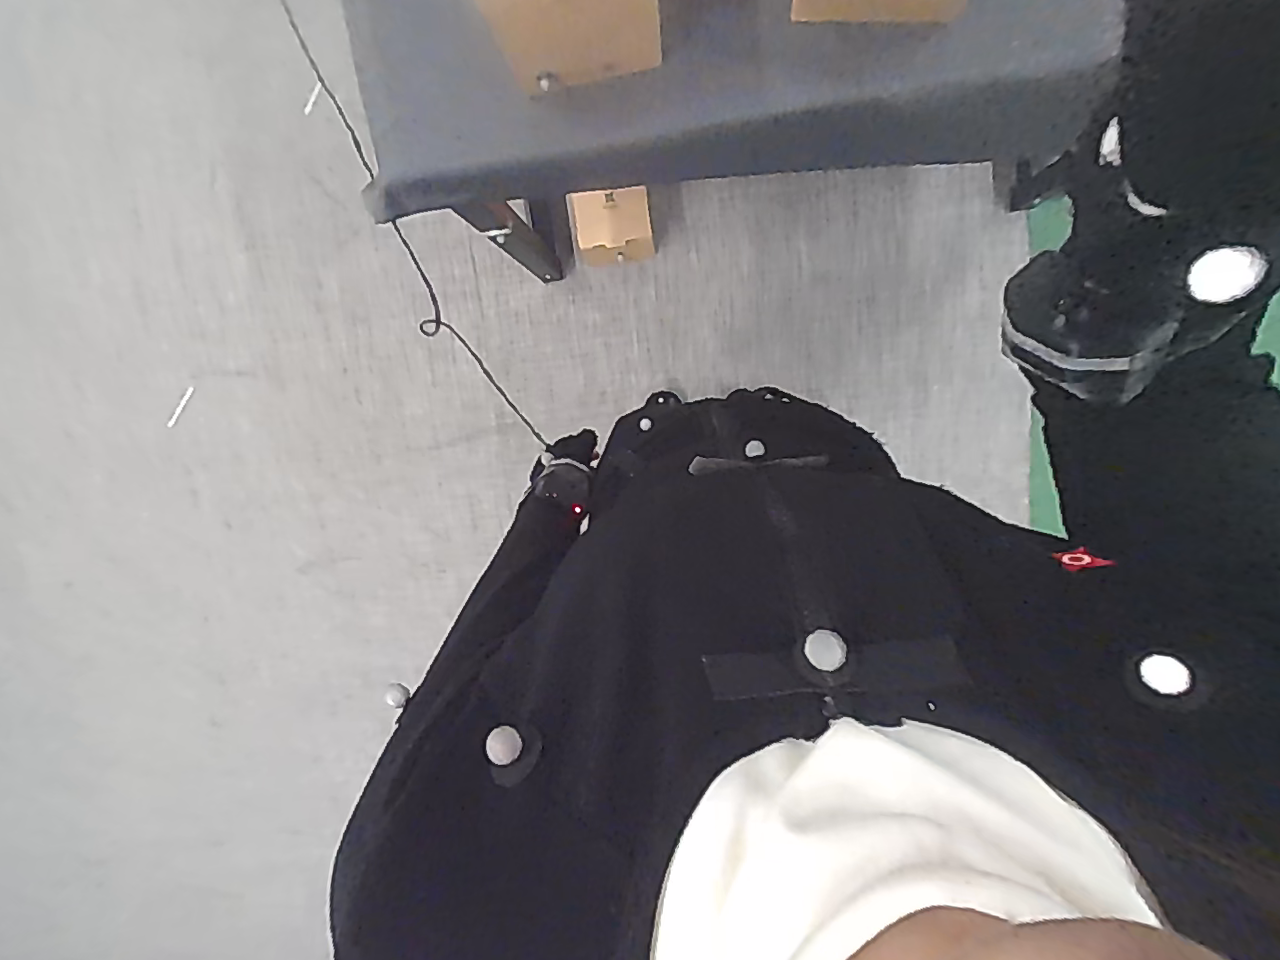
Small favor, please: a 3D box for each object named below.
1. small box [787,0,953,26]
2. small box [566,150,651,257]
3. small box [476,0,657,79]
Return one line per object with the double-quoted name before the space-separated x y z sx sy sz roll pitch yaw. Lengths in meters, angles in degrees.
"small box" 0.251 -0.575 0.512 0.179 0.176 0.168 4 98 4
"small box" -0.066 -0.632 1.263 0.168 0.176 0.179 -7 100 5
"small box" -0.076 -0.539 0.536 0.168 0.176 0.179 -9 97 5
